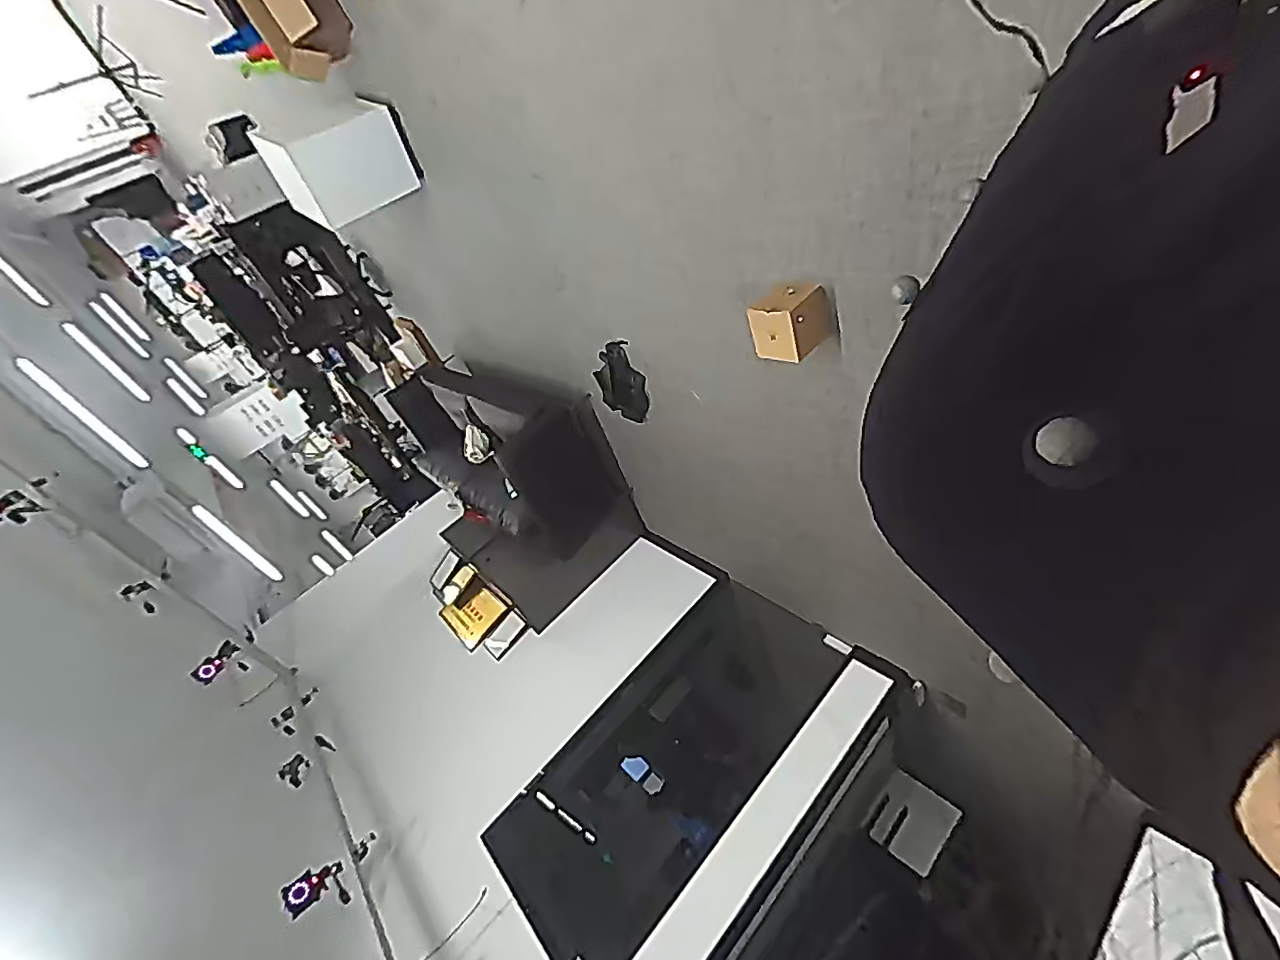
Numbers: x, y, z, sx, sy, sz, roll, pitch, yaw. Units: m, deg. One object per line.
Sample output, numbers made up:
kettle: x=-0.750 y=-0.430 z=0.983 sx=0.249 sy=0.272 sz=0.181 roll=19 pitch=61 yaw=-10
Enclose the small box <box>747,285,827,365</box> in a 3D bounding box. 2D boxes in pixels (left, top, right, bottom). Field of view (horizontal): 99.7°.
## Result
small box: x=0.467 y=-0.491 z=1.699 sx=0.168 sy=0.176 sz=0.179 roll=25 pitch=147 yaw=46
